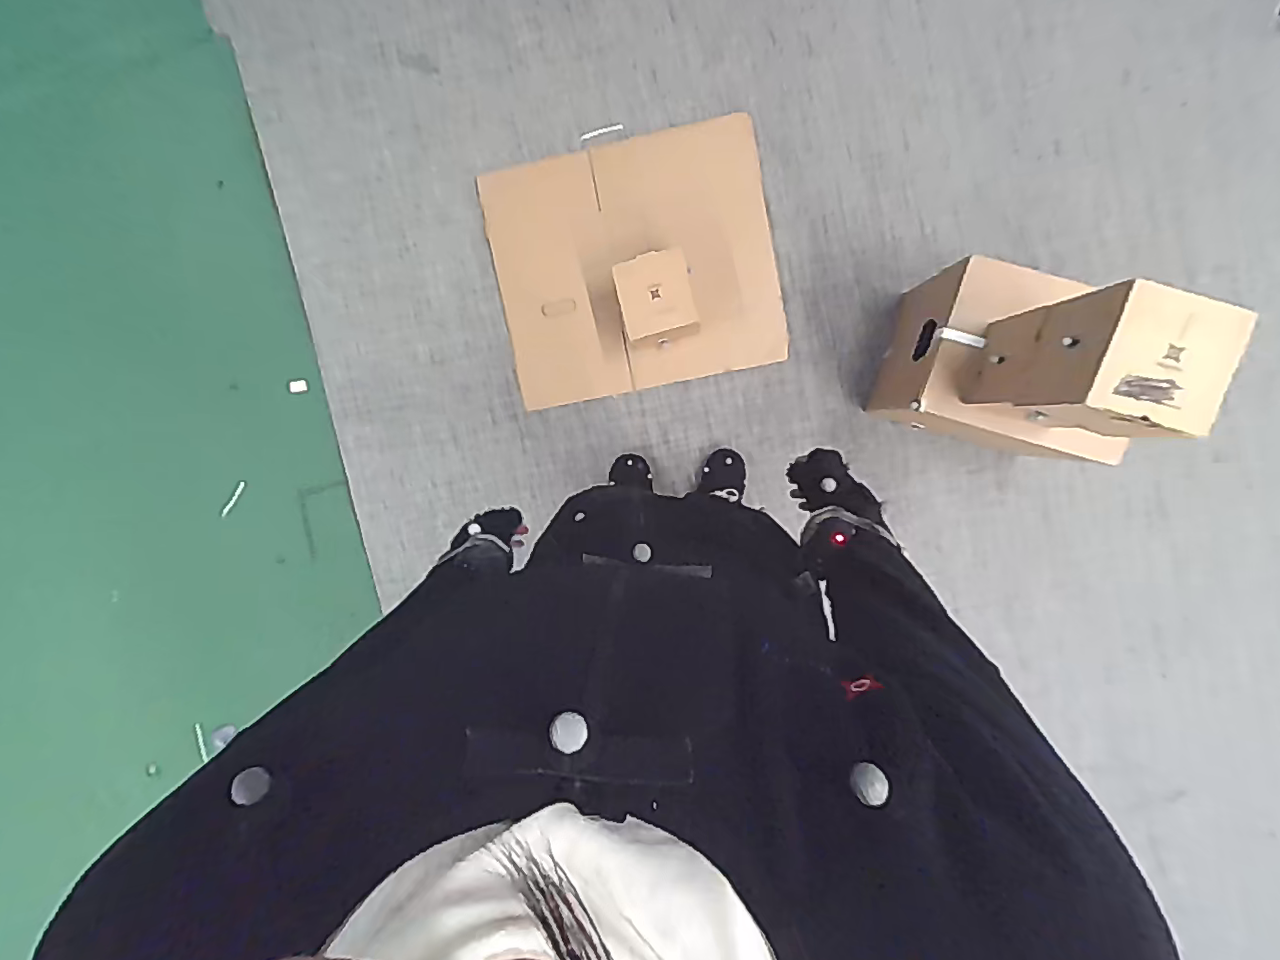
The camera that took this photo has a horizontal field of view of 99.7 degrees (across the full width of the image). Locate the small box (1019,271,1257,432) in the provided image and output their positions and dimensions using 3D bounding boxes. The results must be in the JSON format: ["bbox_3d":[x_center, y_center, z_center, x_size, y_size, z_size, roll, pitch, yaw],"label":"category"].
[{"bbox_3d":[0.707,-0.178,0.796,0.168,0.176,0.179,18,97,2],"label":"small box"}]

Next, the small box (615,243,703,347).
[{"bbox_3d":[0.051,-0.430,1.287,0.168,0.176,0.179,-14,95,10],"label":"small box"}]

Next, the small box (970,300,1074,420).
[{"bbox_3d":[0.729,-0.203,0.960,0.179,0.176,0.168,12,96,3],"label":"small box"}]
